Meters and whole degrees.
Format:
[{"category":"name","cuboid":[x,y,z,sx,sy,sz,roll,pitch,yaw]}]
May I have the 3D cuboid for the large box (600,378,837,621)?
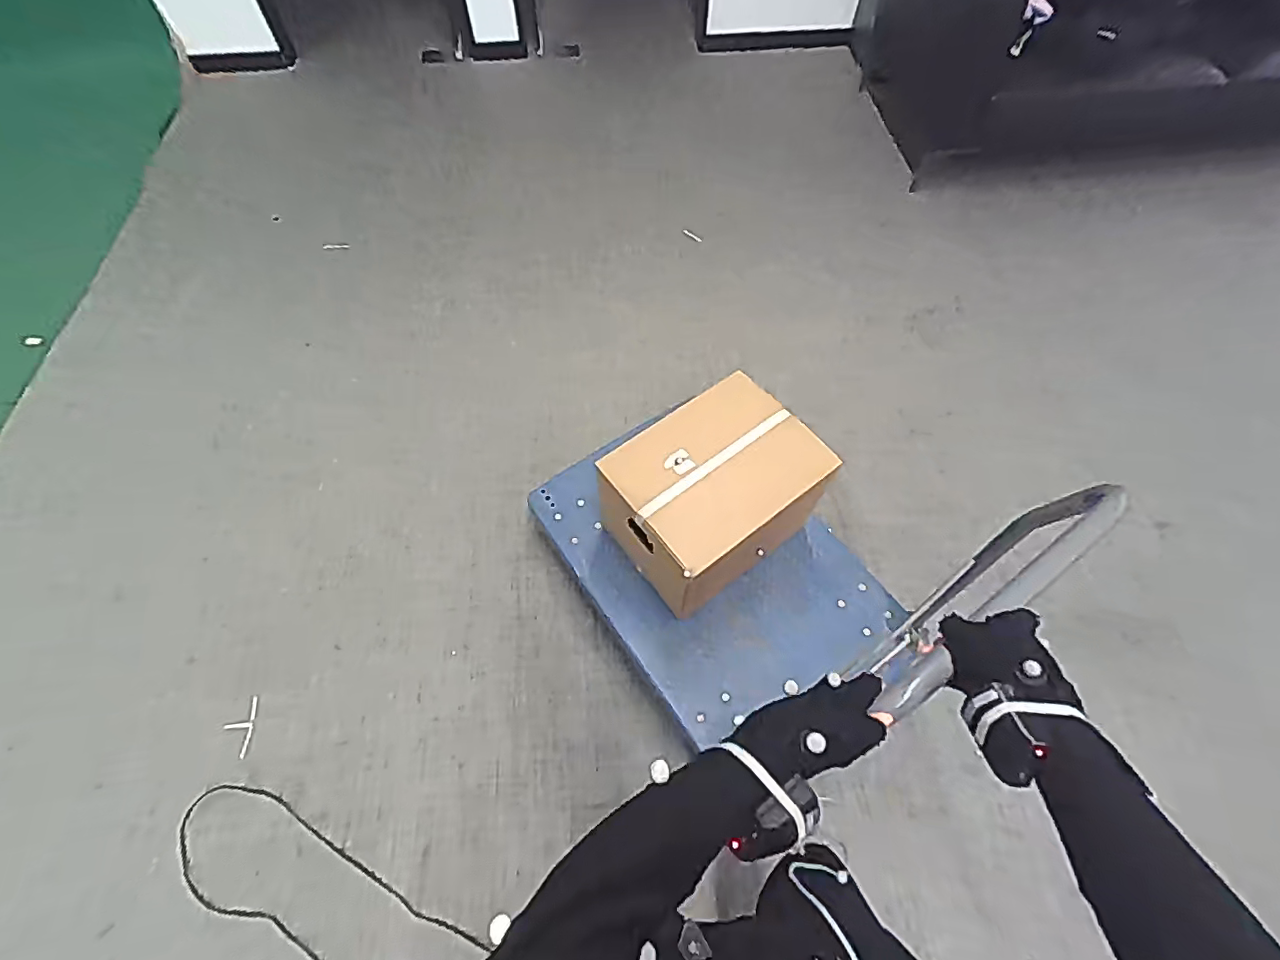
[{"category":"large box","cuboid":[0.165,0.049,1.239,0.408,0.320,0.320,-36,66,-17]}]
